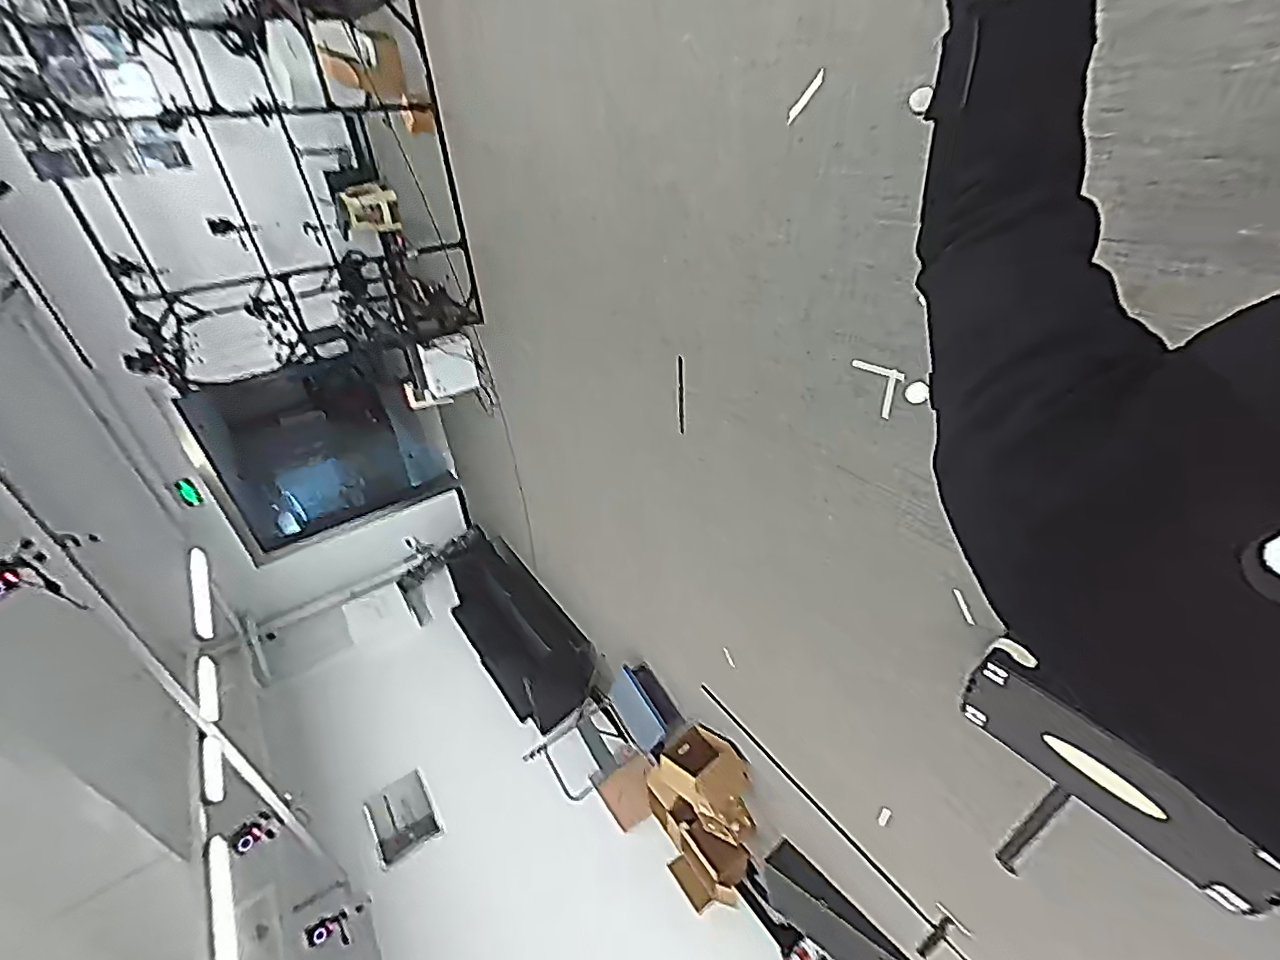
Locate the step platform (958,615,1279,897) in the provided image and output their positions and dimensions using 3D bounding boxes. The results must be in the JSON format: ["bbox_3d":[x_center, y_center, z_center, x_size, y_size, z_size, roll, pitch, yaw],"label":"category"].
[{"bbox_3d":[1.217,0.674,1.403,0.684,0.204,0.286,38,142,44],"label":"step platform"}]
